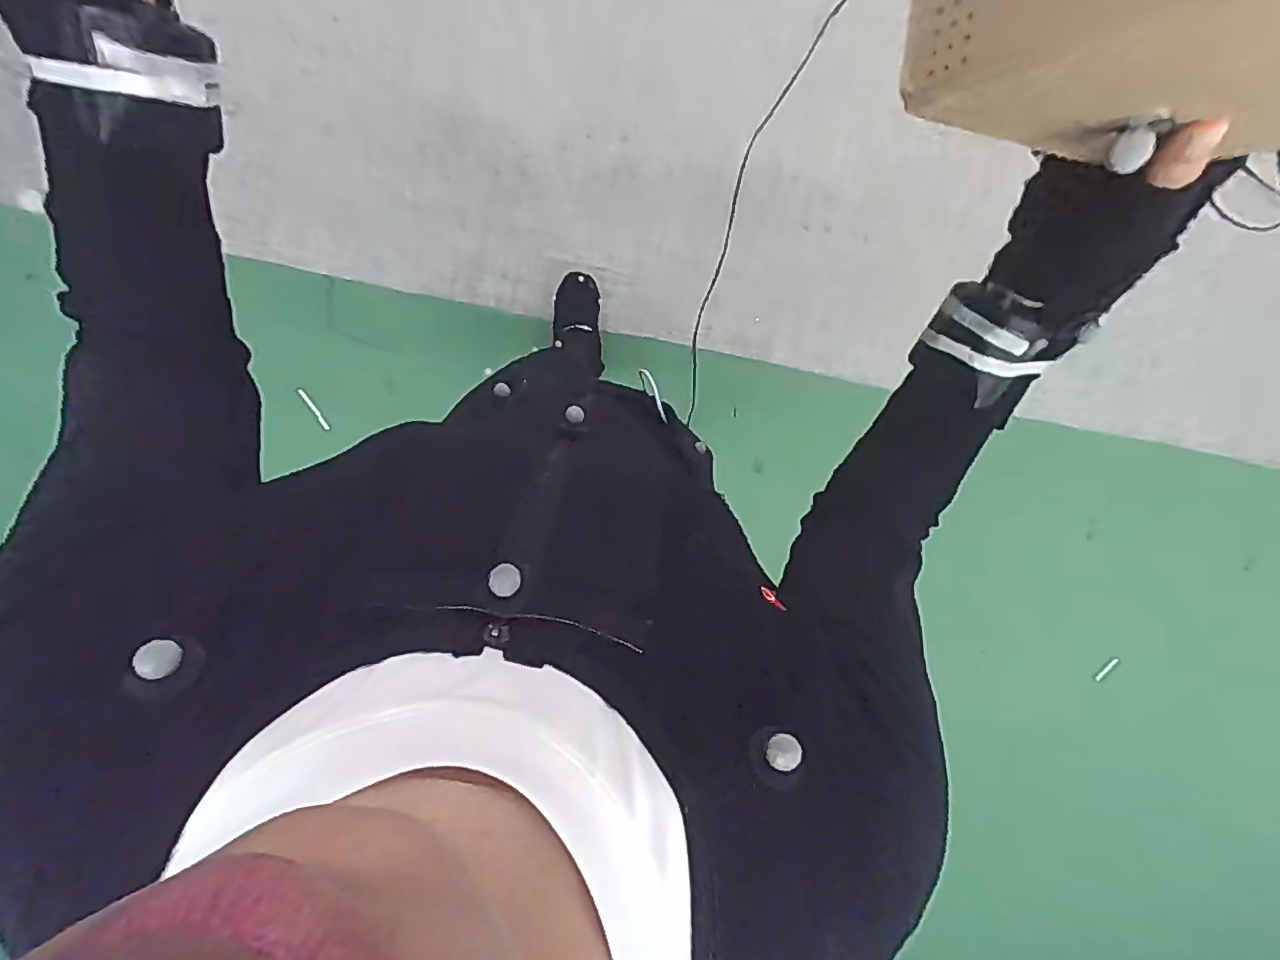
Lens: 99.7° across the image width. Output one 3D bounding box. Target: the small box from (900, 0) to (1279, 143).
[{"bbox_3d":[0.211,-0.211,0.147,0.179,0.176,0.168,-7,109,-25],"label":"small box"}]
